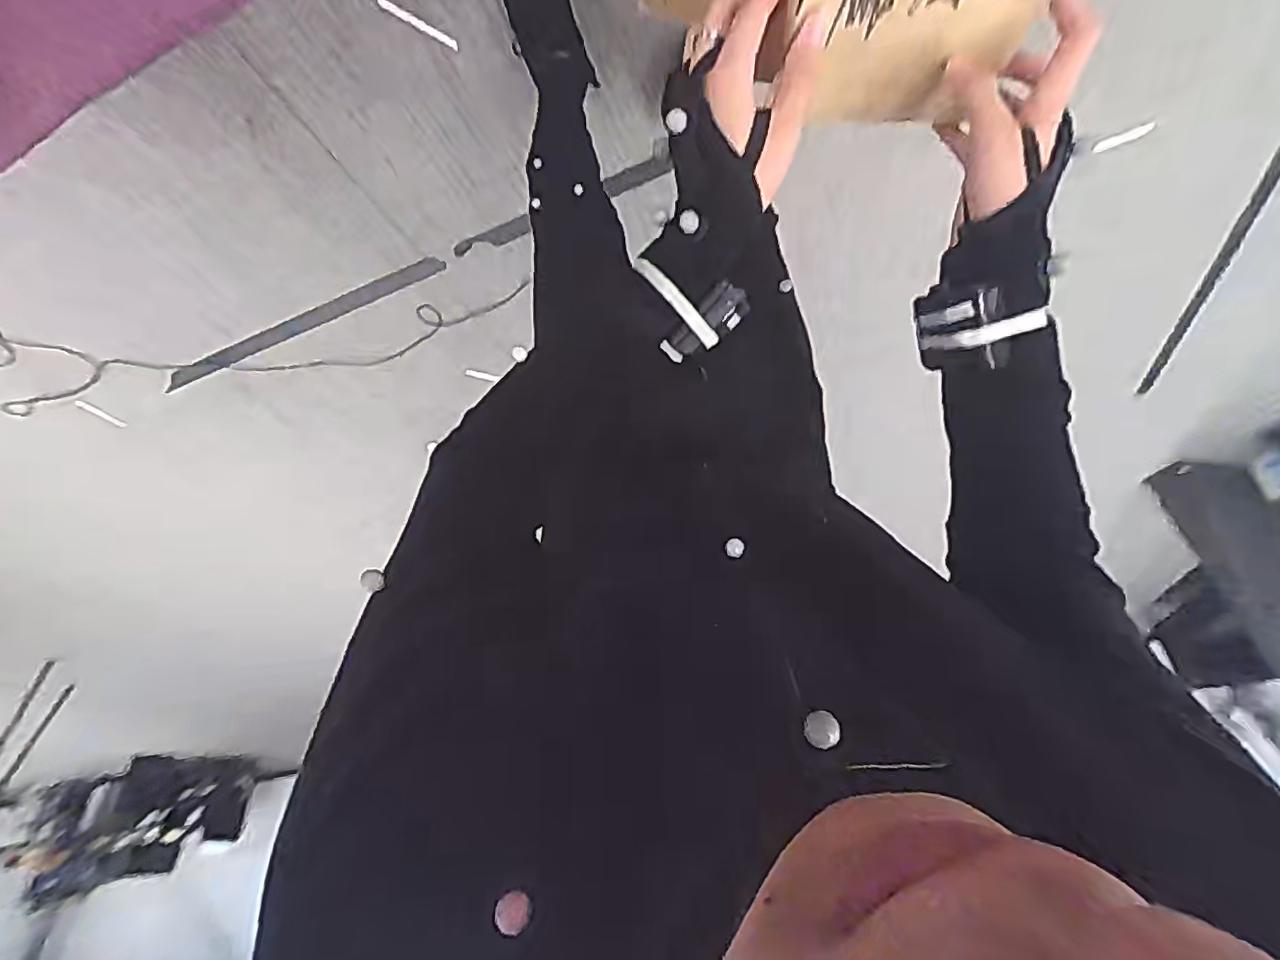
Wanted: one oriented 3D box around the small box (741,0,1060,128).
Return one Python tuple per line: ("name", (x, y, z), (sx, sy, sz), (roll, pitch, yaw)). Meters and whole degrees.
("small box", (0.169, -0.371, 0.344), (0.179, 0.176, 0.168), (3, 156, -9))
